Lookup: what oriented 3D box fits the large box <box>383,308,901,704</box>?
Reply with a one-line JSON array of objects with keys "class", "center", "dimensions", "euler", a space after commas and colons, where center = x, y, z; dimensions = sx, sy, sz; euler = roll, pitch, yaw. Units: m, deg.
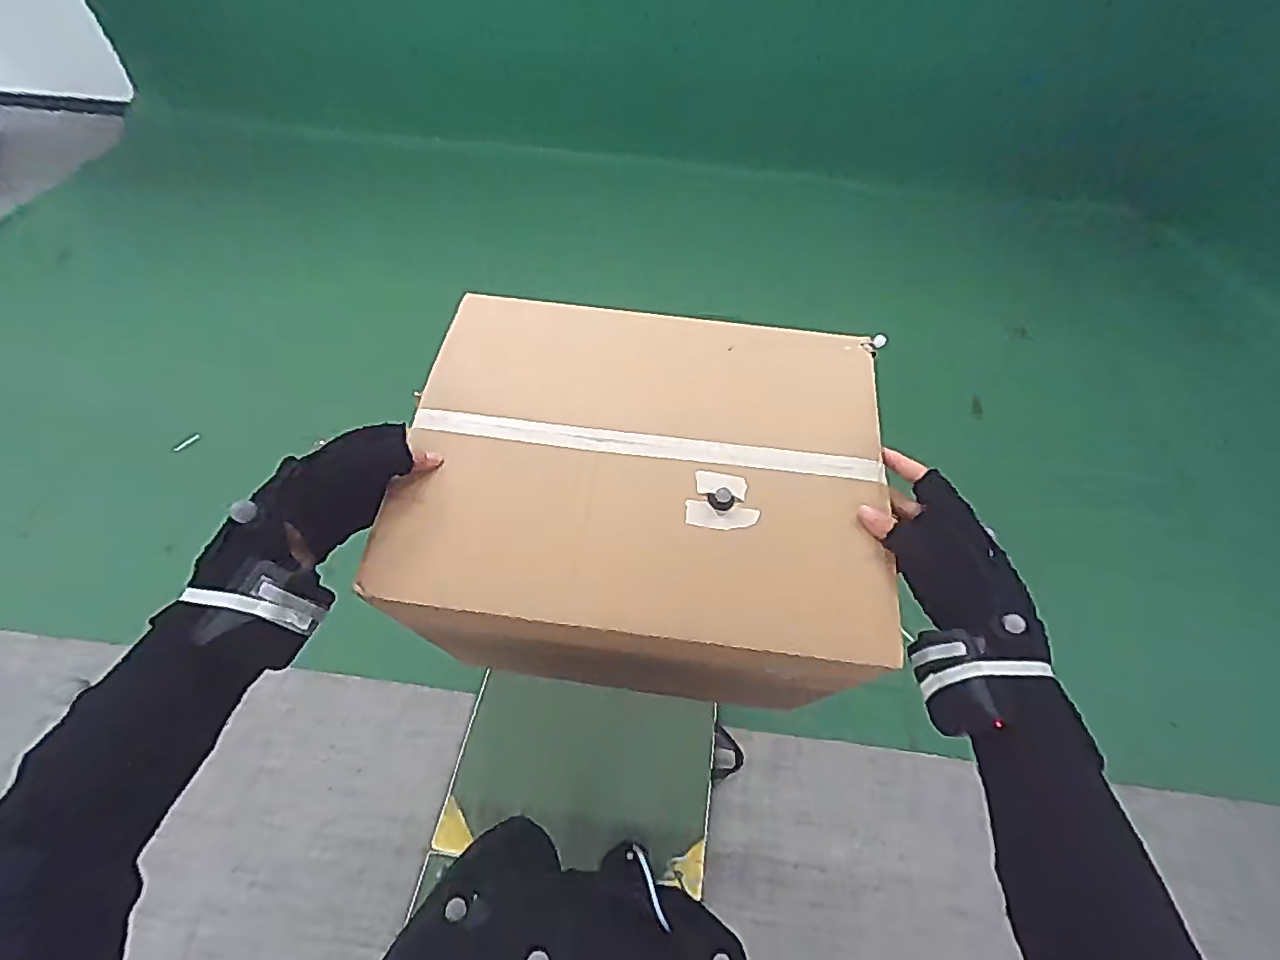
[{"class": "large box", "center": [0.008, 0.048, 0.607], "dimensions": [0.408, 0.320, 0.320], "euler": [7, 62, 2]}]
